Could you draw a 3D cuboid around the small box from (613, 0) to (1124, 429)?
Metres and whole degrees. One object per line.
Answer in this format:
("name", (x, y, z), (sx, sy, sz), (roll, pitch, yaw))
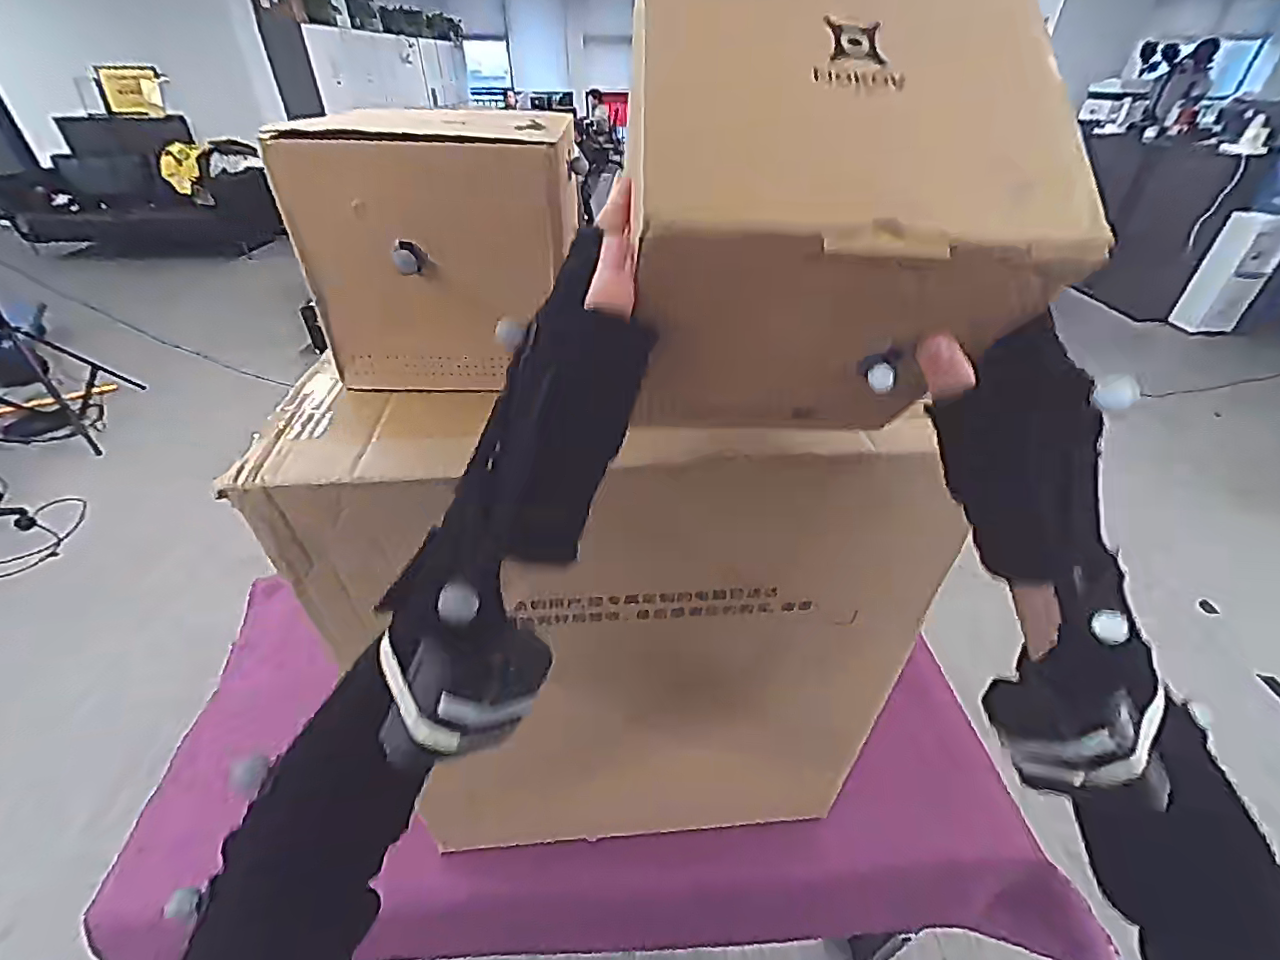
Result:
("small box", (0.074, -0.135, 0.275), (0.168, 0.176, 0.179), (2, 72, -6))

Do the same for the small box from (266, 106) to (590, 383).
("small box", (-0.134, -0.186, 0.425), (0.179, 0.176, 0.168), (-1, 38, -2))
